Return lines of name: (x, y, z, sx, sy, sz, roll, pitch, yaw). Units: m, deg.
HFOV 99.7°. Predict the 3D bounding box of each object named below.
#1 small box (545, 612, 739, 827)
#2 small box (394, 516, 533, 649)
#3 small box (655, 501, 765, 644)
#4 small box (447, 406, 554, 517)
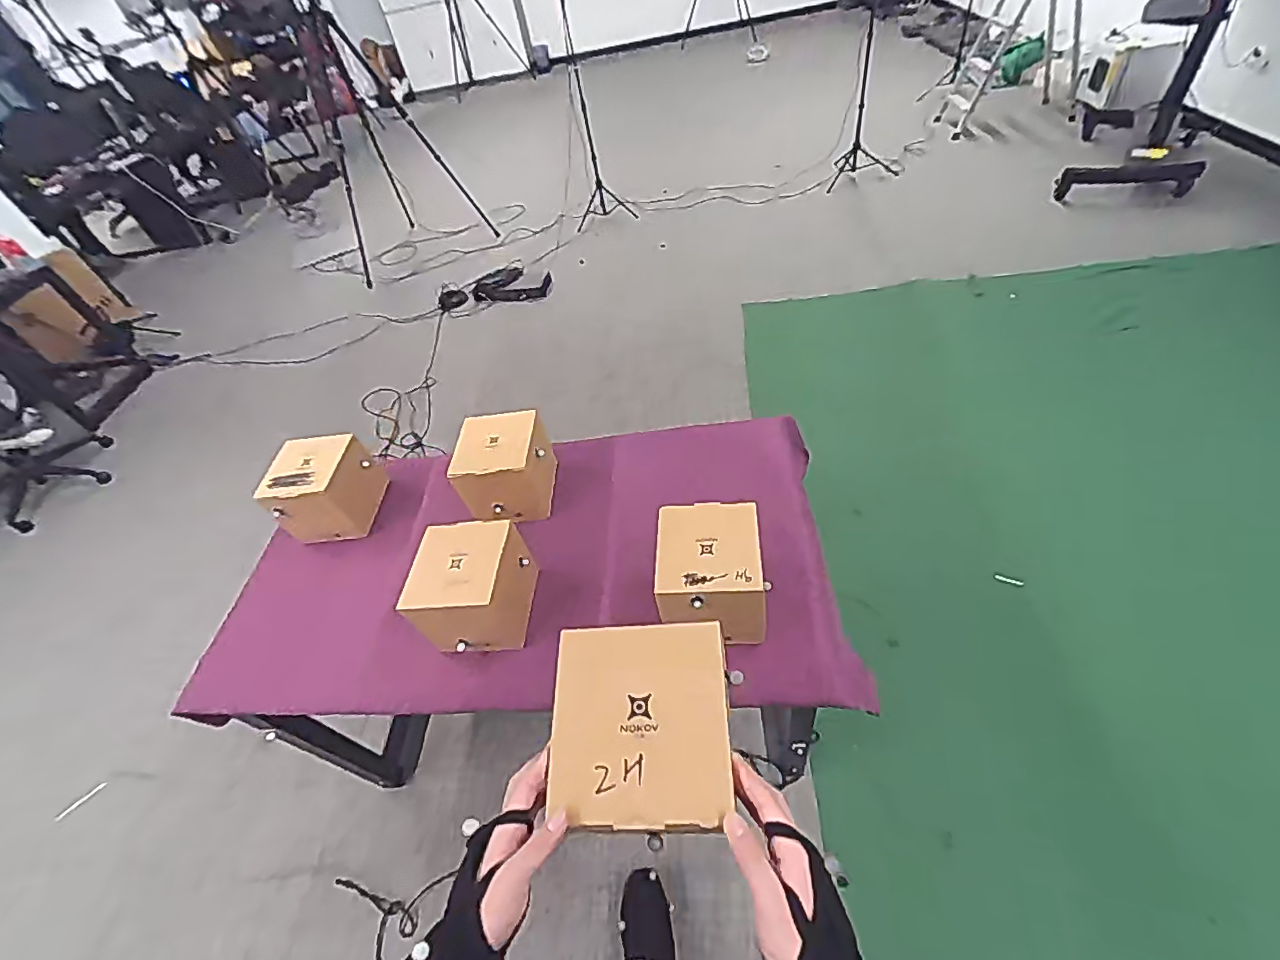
small box: (0.013, 0.252, 0.561, 0.168, 0.176, 0.179, -5, 55, 8)
small box: (-0.302, 0.186, 0.976, 0.168, 0.176, 0.179, -4, 47, 9)
small box: (0.122, 0.156, 0.914, 0.168, 0.176, 0.179, -3, 46, 10)
small box: (-0.291, -0.036, 1.174, 0.168, 0.176, 0.179, -5, 49, 6)
